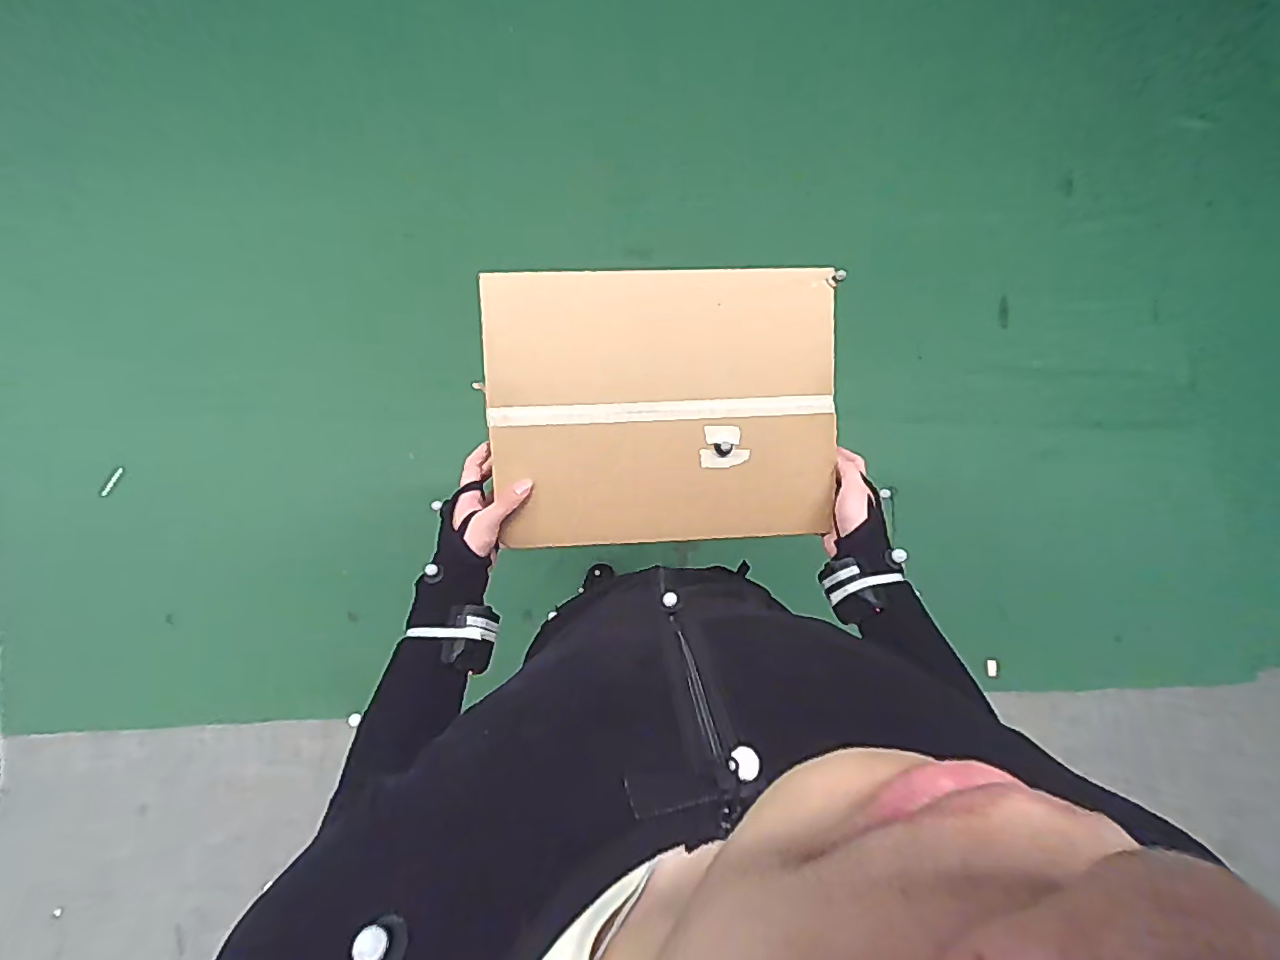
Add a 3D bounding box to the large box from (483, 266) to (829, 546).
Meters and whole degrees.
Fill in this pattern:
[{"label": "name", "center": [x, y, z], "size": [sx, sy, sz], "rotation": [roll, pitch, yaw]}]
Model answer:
[{"label": "large box", "center": [0.014, -0.101, 0.784], "size": [0.408, 0.320, 0.320], "rotation": [-3, 97, -5]}]
